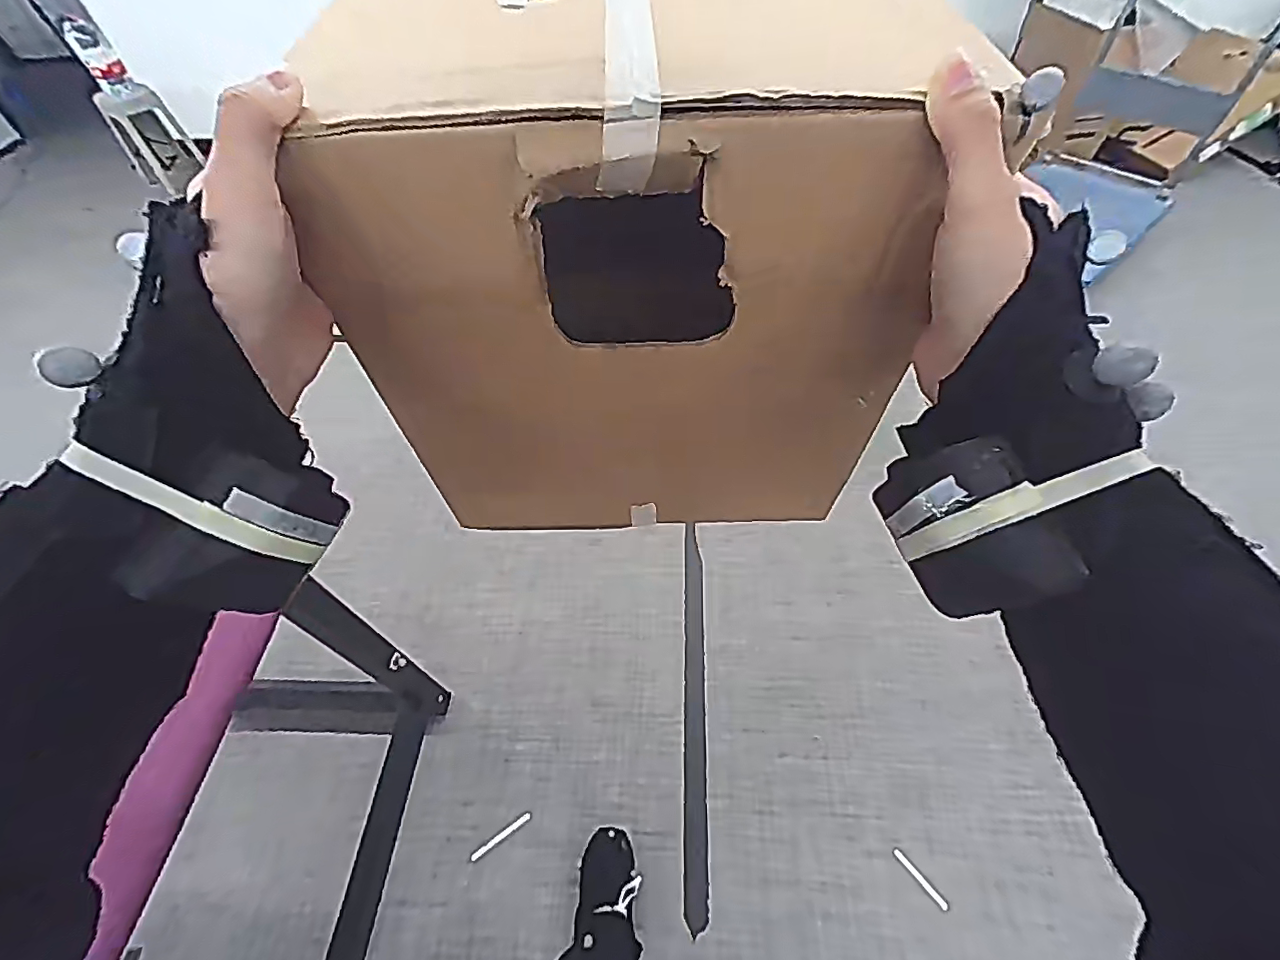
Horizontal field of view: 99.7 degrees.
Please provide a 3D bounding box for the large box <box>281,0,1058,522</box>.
[{"bbox_3d":[0.005,-0.216,0.440,0.320,0.320,0.408,-3,57,1],"label":"large box"}]
